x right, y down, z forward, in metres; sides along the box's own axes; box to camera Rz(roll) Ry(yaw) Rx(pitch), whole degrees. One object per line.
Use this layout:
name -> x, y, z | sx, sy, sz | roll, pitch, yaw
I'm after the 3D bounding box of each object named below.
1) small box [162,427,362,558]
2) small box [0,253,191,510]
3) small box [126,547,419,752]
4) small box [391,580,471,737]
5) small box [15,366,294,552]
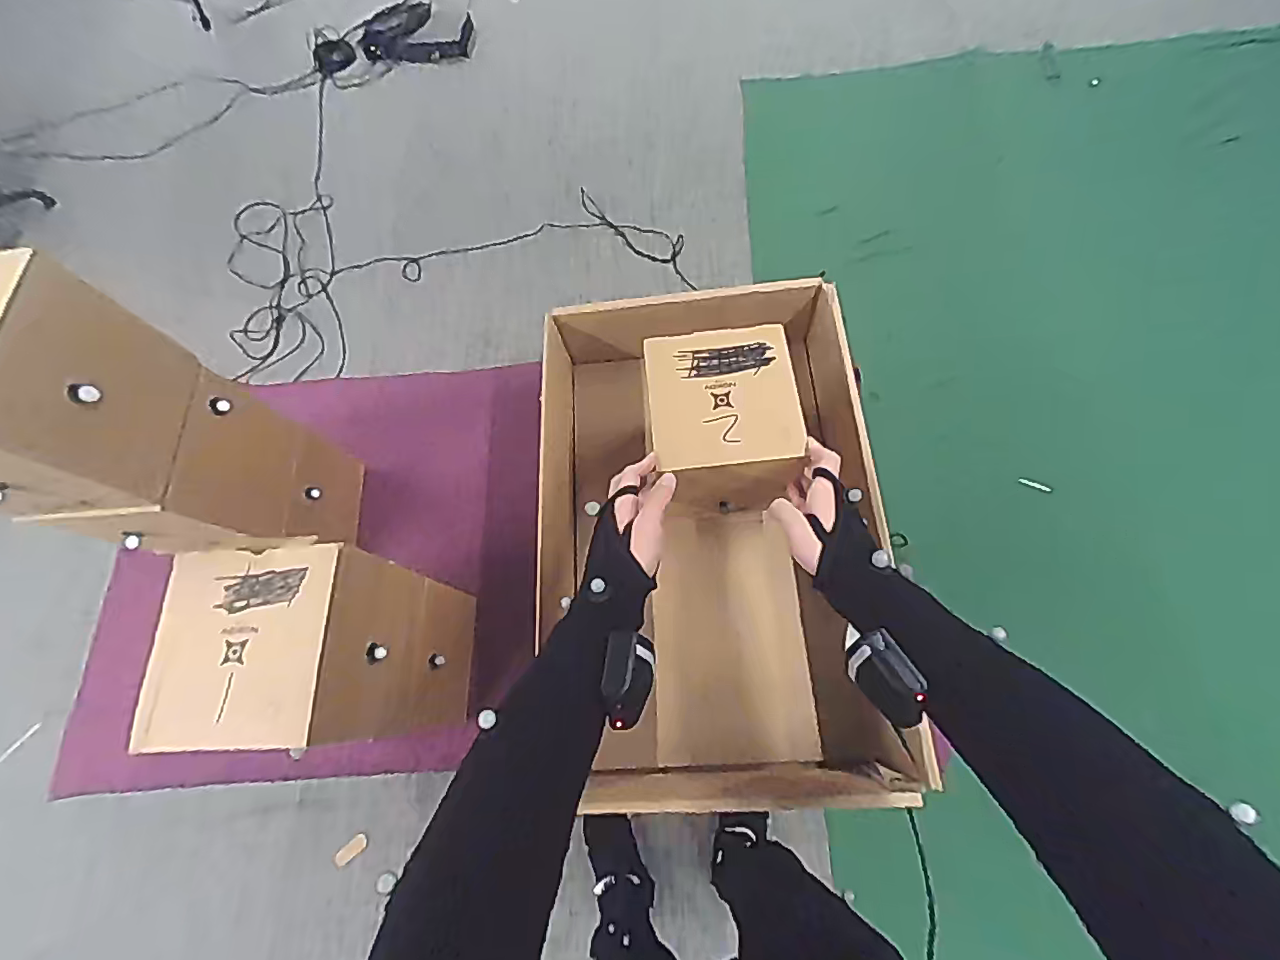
small box -> -0.543, 0.038, 0.806 | 0.168, 0.176, 0.179 | -4, 69, 4
small box -> -0.573, -0.075, 0.502 | 0.168, 0.176, 0.179 | -5, 70, 3
small box -> -0.348, 0.175, 0.556 | 0.168, 0.176, 0.179 | -3, 69, 5
small box -> -0.334, 0.233, 0.708 | 0.168, 0.176, 0.179 | -3, 69, 4
small box -> -0.559, -0.013, 0.654 | 0.168, 0.176, 0.179 | -4, 69, 4
